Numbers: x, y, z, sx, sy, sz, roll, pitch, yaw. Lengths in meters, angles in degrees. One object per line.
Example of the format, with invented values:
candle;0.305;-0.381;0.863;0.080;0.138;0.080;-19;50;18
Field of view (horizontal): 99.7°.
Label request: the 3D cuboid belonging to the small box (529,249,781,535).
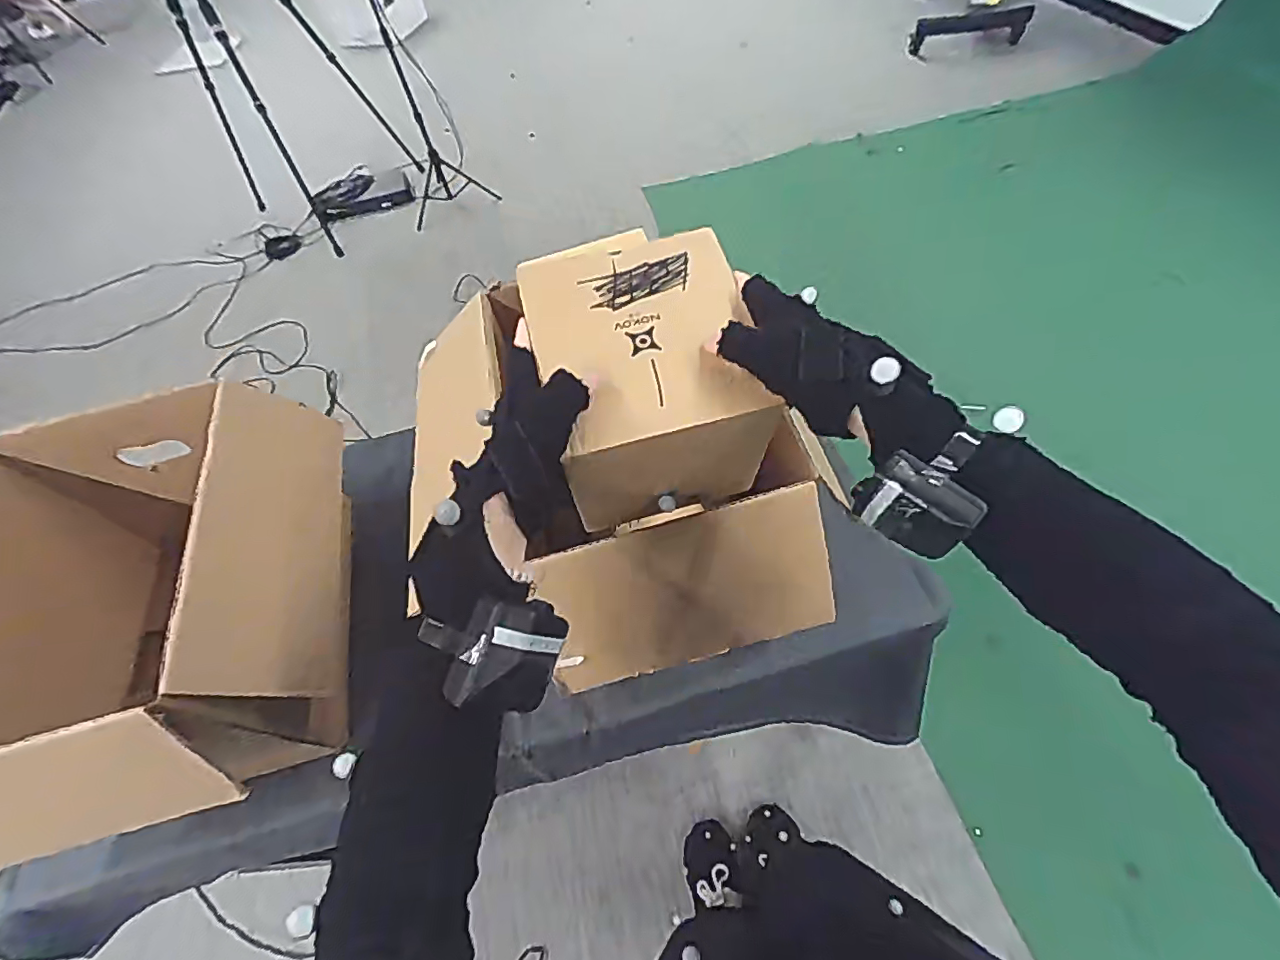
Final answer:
small box;0.006;-0.070;0.491;0.168;0.176;0.179;-13;67;-4
